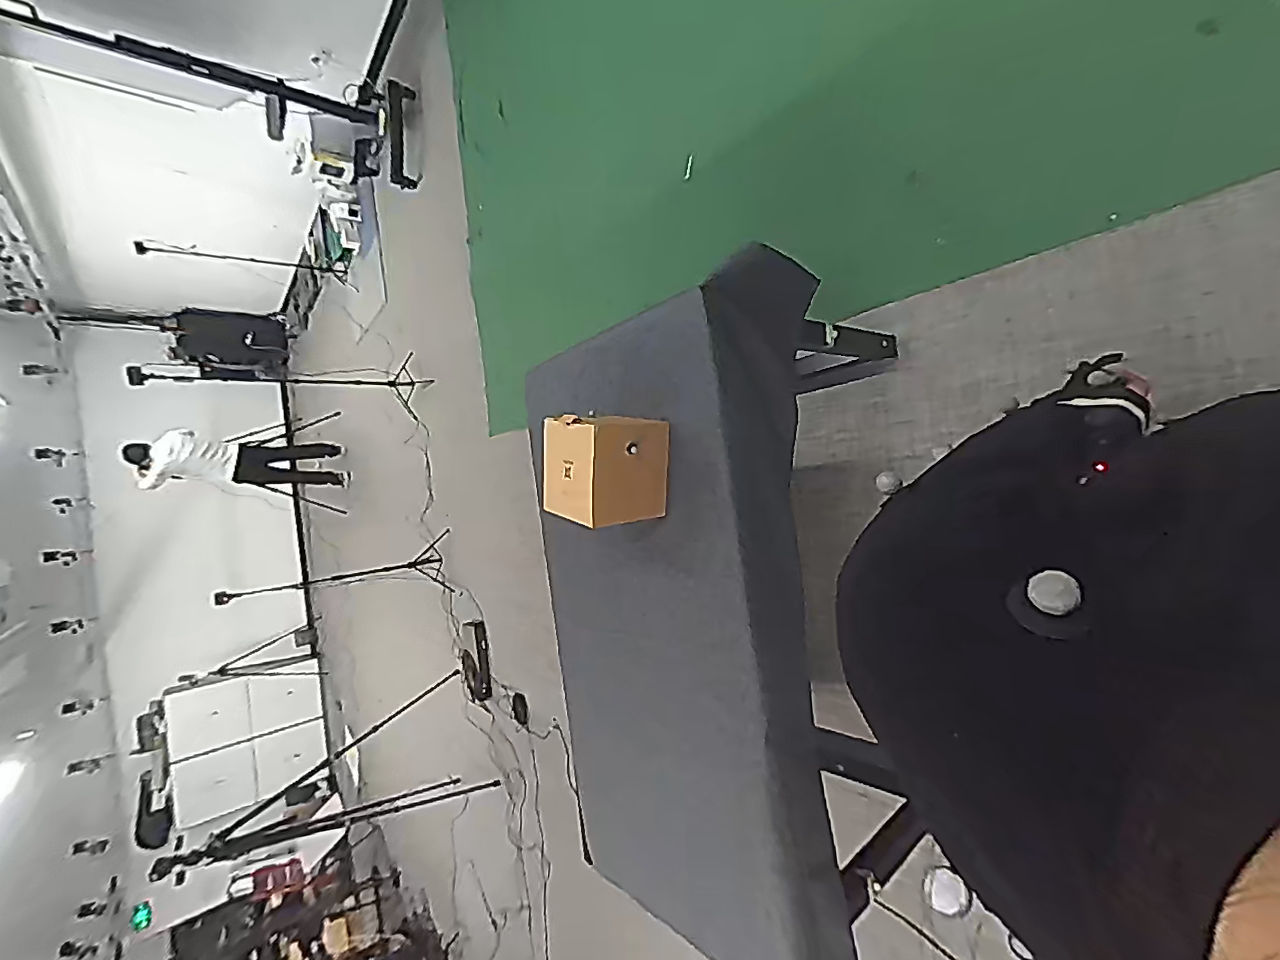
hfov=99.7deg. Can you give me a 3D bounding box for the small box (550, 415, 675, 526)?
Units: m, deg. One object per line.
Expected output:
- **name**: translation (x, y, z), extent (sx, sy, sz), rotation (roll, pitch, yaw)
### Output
- **small box**: translation (-0.050, -0.028, 0.994), extent (0.168, 0.176, 0.179), rotation (14, 106, 50)
